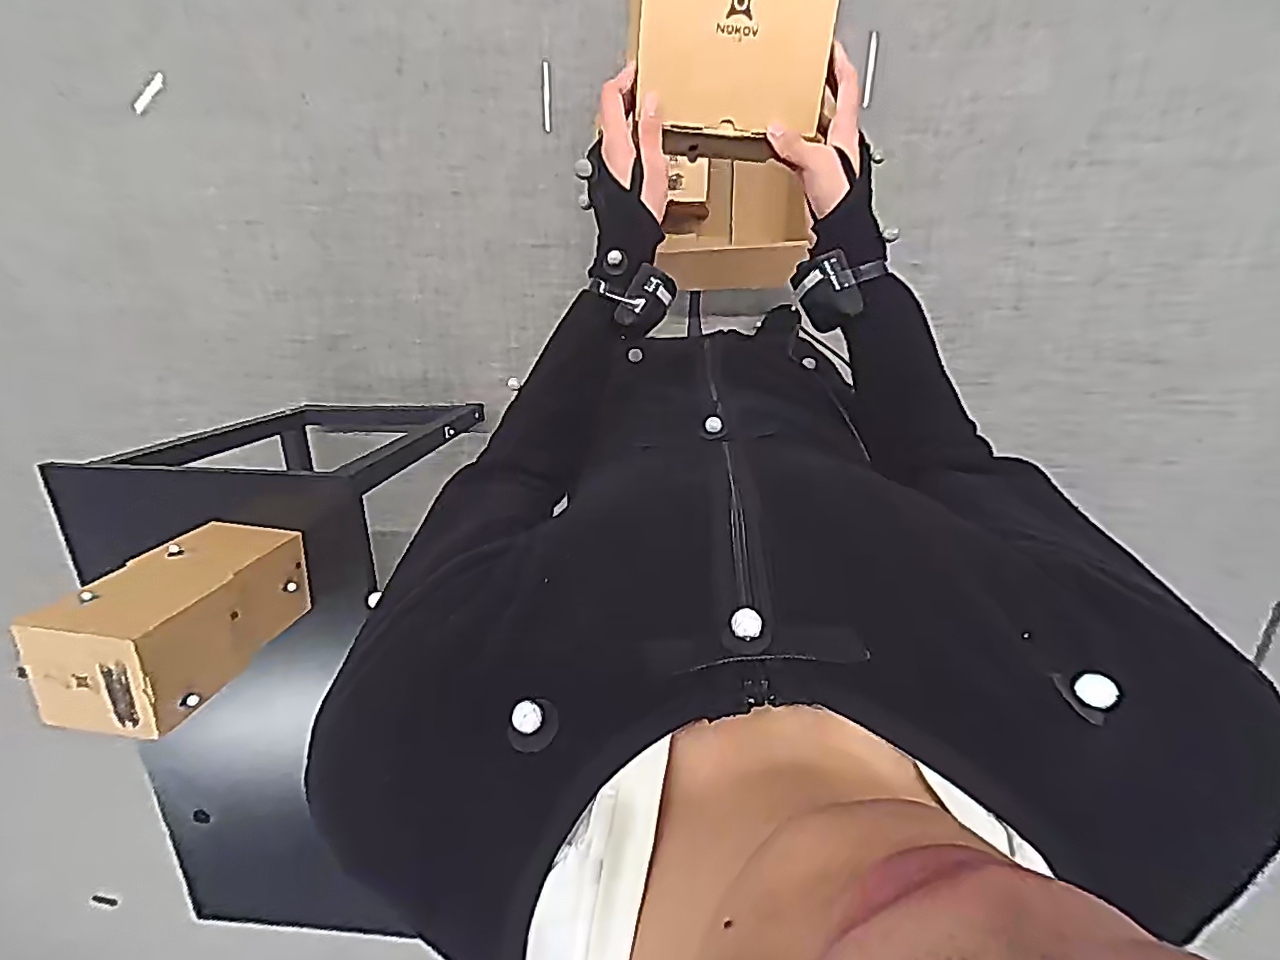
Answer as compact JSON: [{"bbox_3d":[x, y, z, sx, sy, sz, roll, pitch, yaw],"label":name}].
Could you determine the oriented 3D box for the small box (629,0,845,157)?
[{"bbox_3d":[0.079,-0.419,0.507,0.168,0.176,0.179,1,115,-5],"label":"small box"}]

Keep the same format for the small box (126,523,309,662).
[{"bbox_3d":[-0.722,0.187,0.943,0.179,0.176,0.168,7,110,3],"label":"small box"}]
